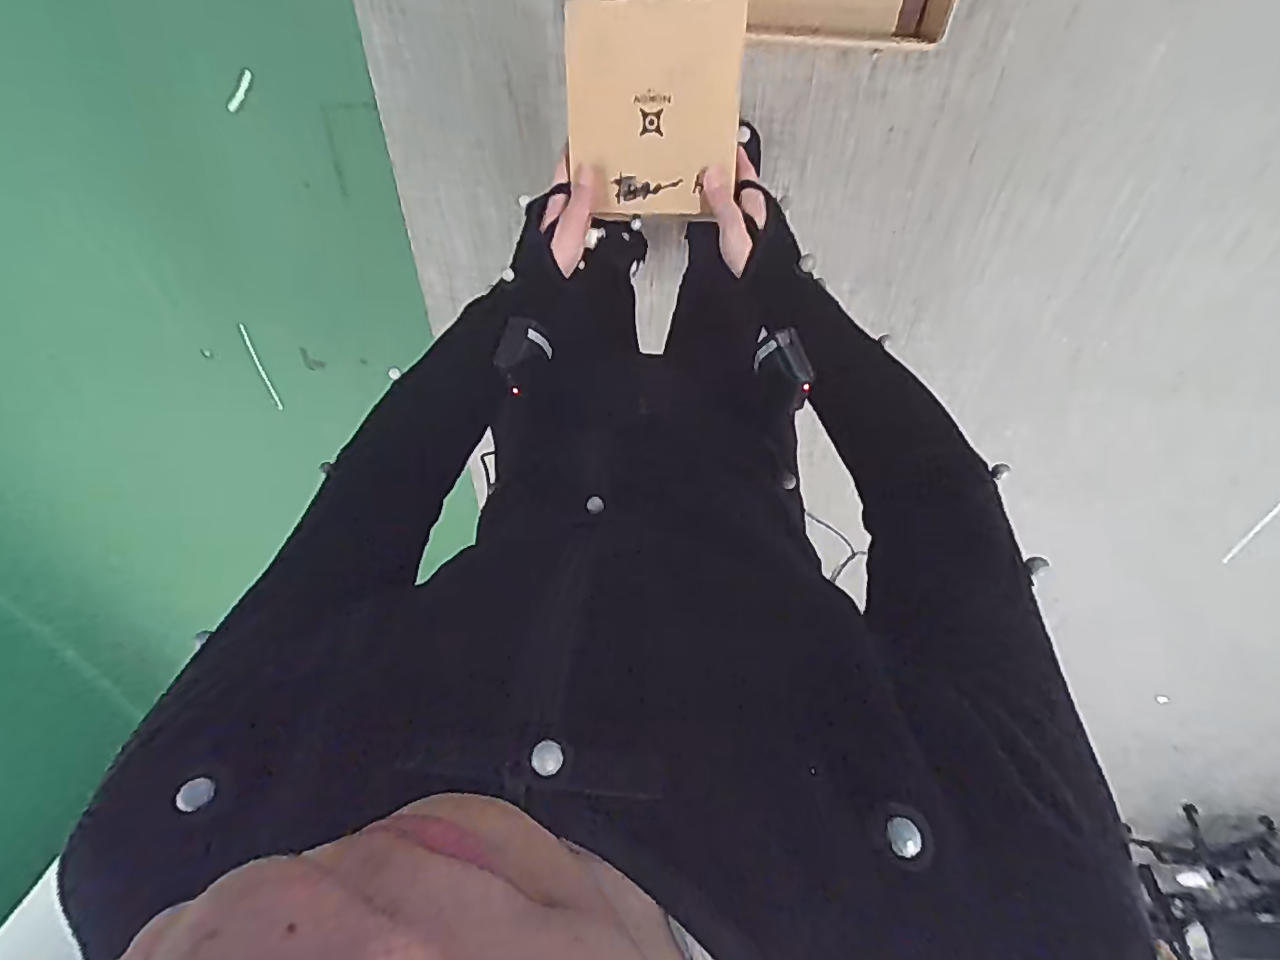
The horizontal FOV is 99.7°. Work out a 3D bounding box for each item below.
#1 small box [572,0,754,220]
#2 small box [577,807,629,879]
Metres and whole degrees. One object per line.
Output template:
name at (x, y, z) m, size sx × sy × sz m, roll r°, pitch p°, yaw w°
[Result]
small box at (0.024, -0.384, 0.583) m, size 0.168 × 0.176 × 0.179 m, roll 4°, pitch 114°, yaw 5°
small box at (-0.134, 1.357, 2.021) m, size 0.168 × 0.176 × 0.179 m, roll 6°, pitch 130°, yaw 6°
